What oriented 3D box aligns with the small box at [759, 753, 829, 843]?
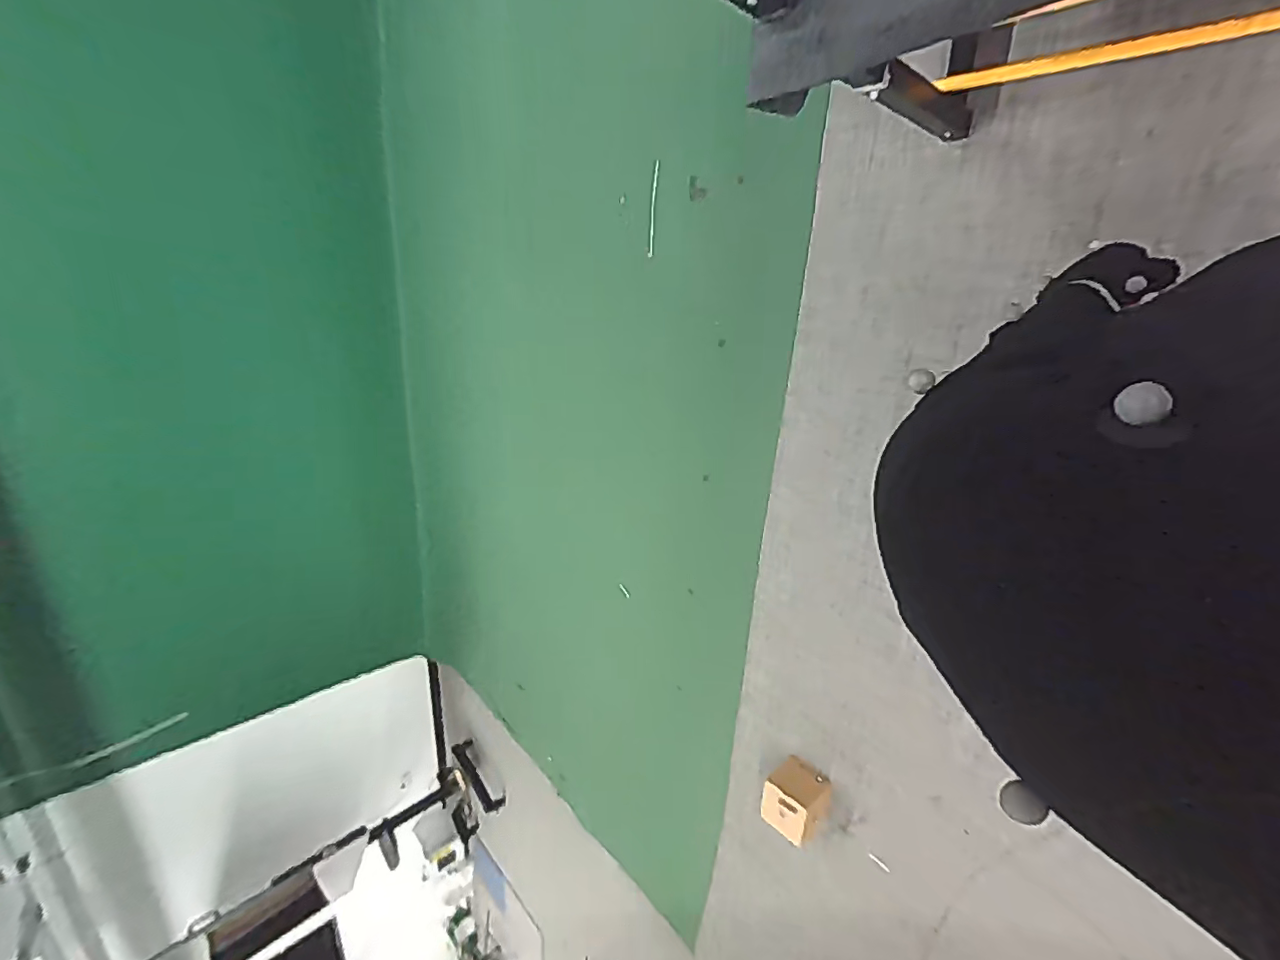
[{"bbox_3d":[0.542,1.107,1.898,0.168,0.176,0.179,21,117,43],"label":"small box"}]
